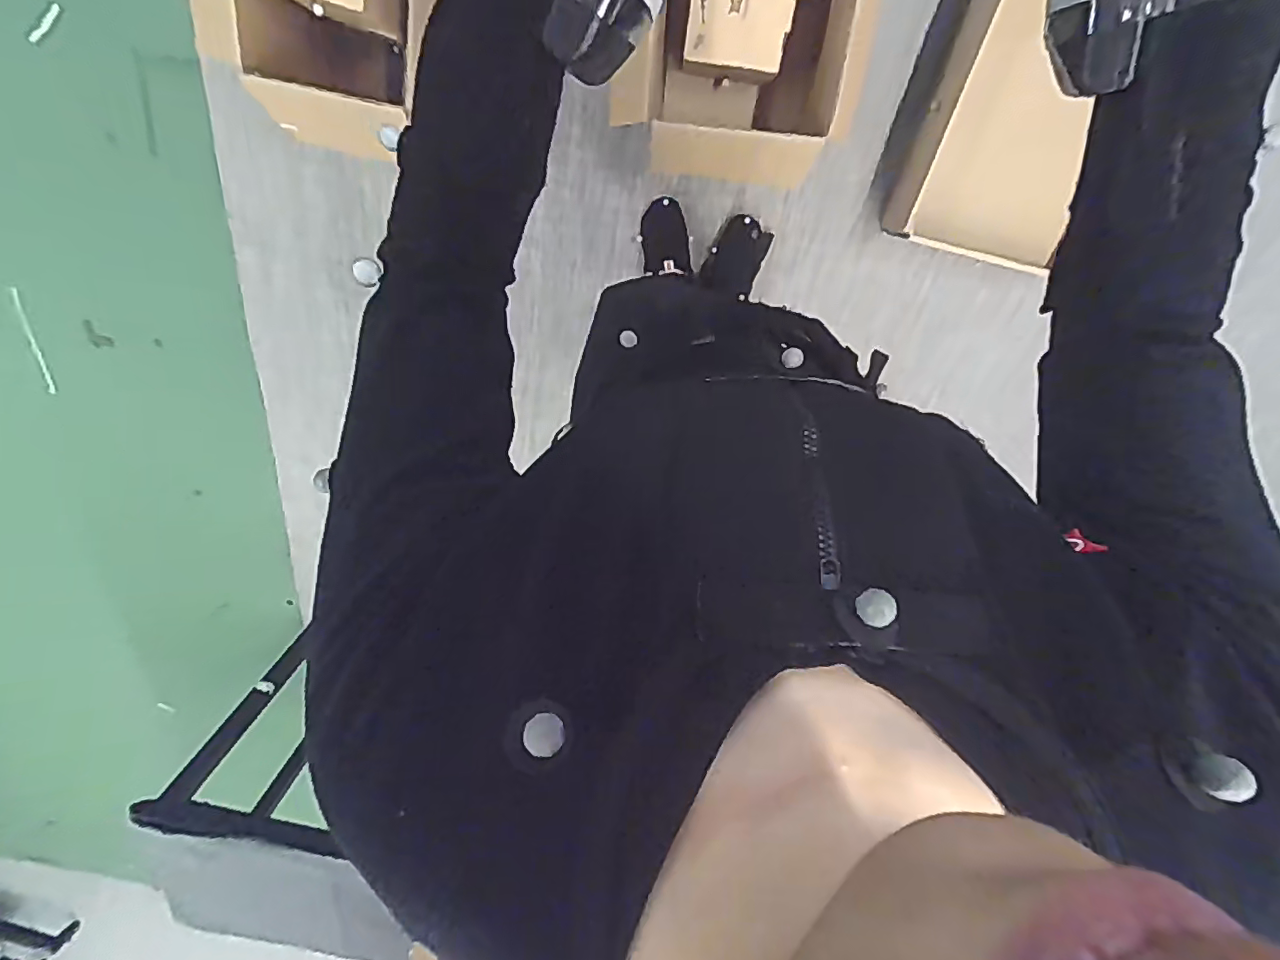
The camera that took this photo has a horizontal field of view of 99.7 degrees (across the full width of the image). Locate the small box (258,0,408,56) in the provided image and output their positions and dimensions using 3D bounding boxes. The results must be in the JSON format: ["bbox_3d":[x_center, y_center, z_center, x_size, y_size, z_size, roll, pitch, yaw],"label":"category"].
[{"bbox_3d":[-0.499,-0.840,0.898,0.179,0.176,0.168,14,116,-4],"label":"small box"}]
